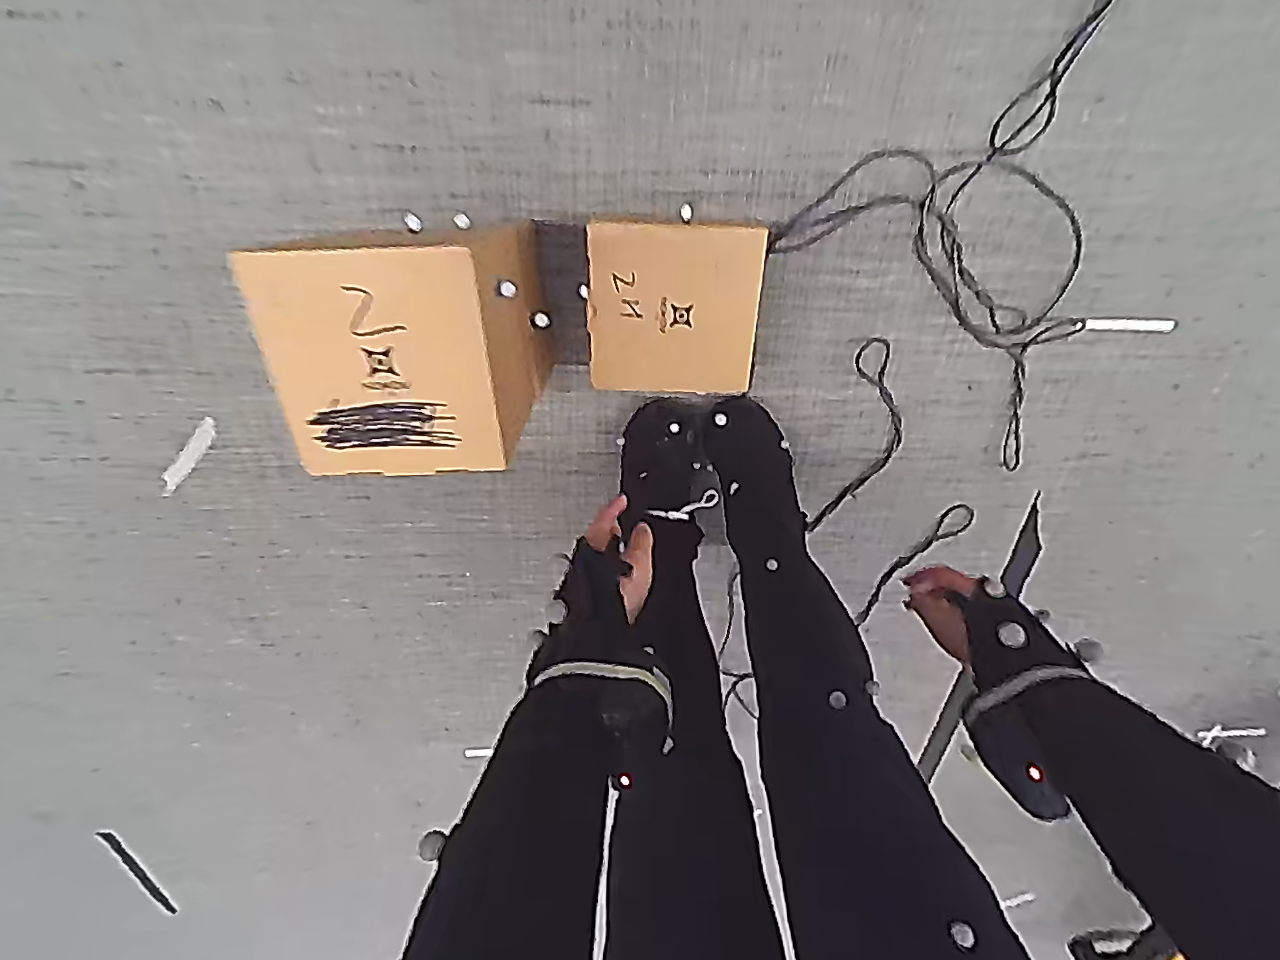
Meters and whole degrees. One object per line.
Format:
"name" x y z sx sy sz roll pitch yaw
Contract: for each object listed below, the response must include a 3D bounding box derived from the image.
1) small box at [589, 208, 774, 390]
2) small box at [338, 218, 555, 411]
"small box" 0.035 -0.209 0.609 0.179 0.176 0.168 2 118 -2
"small box" -0.198 -0.195 0.615 0.168 0.176 0.179 -6 119 2
